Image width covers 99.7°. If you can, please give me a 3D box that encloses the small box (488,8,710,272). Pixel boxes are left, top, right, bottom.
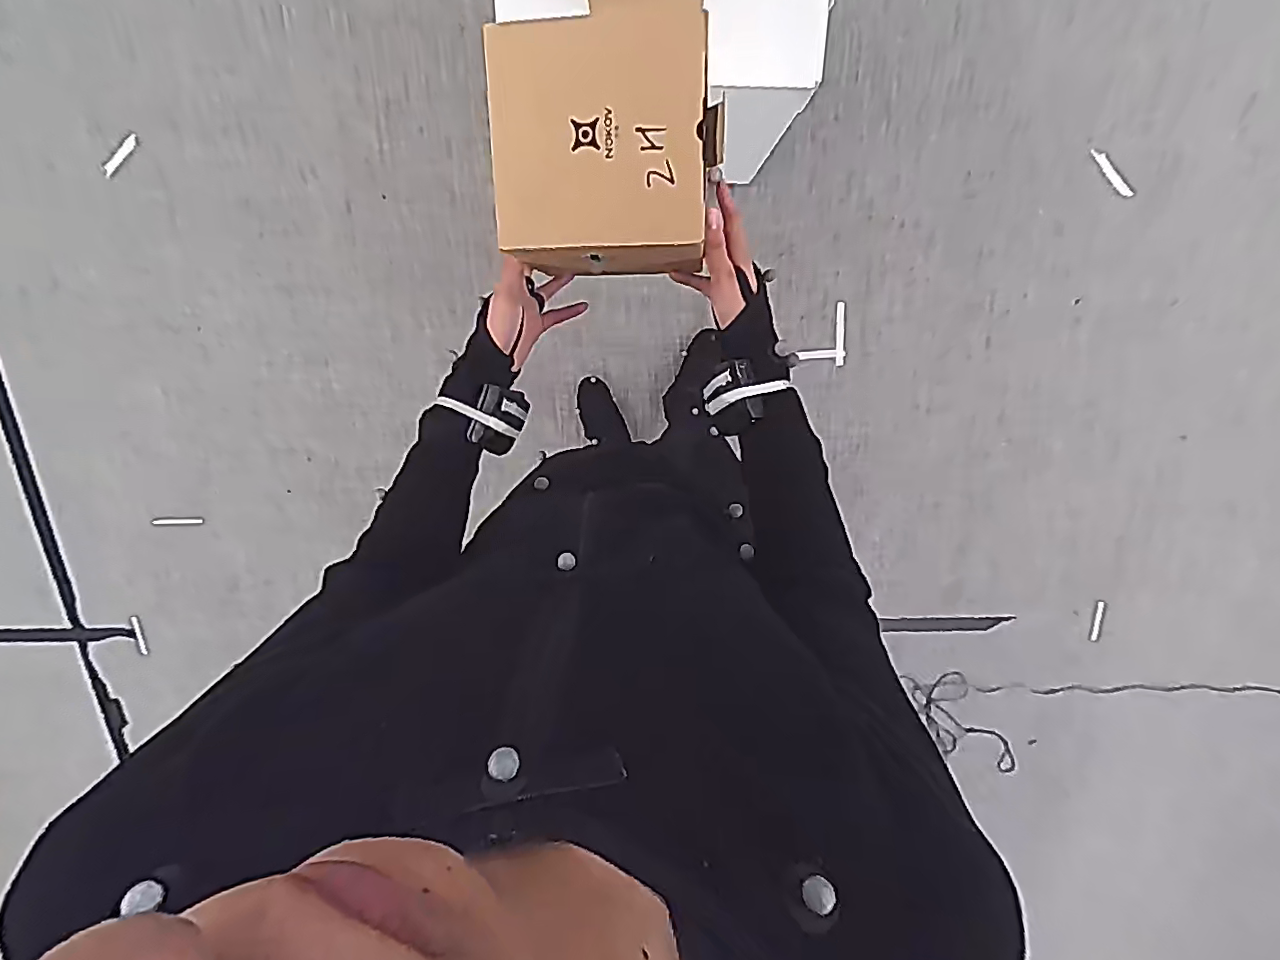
[{"bbox_3d":[-0.025,-0.294,0.509,0.179,0.176,0.168,1,104,5],"label":"small box"}]
